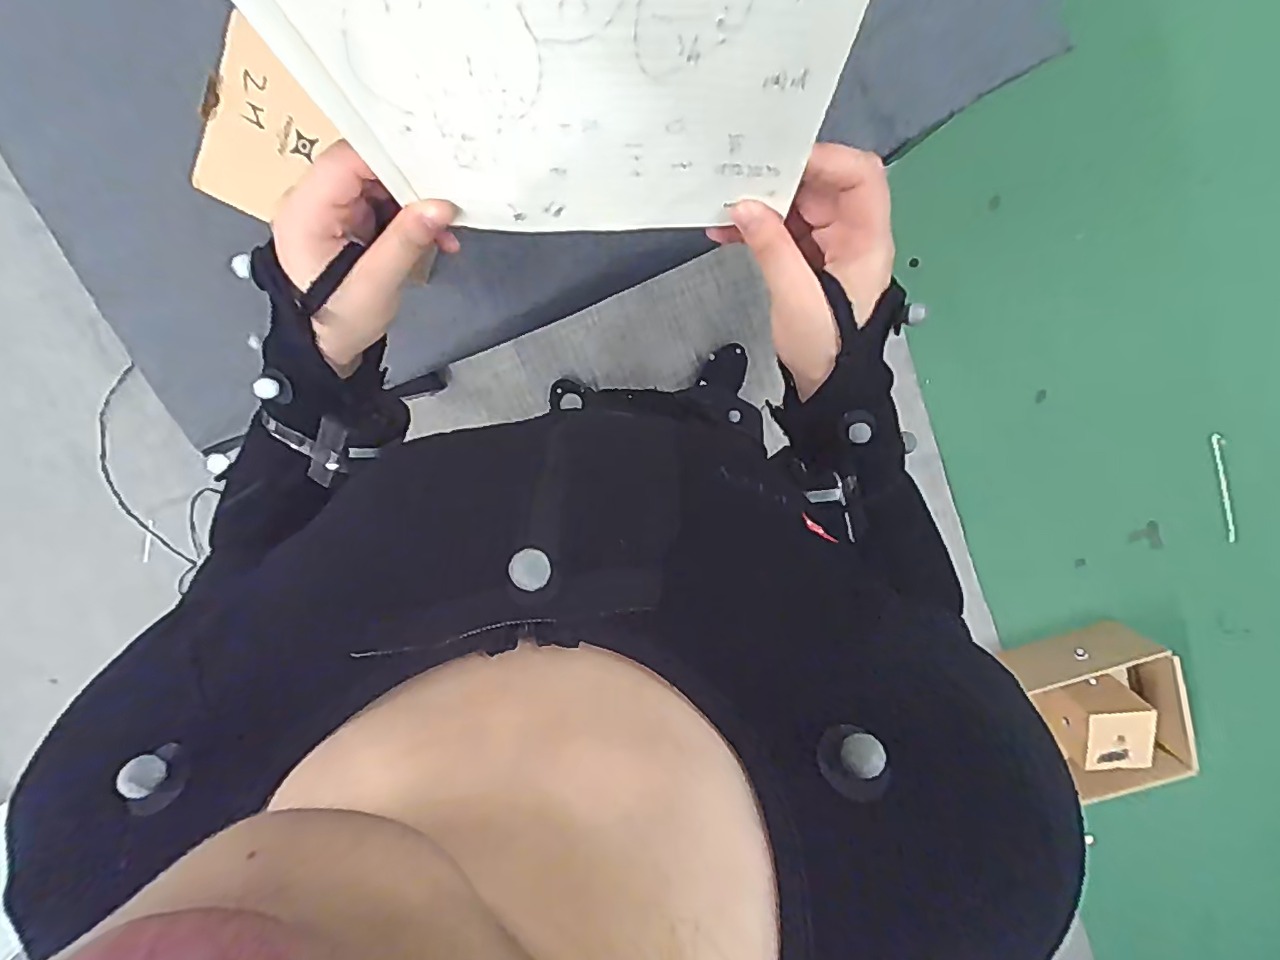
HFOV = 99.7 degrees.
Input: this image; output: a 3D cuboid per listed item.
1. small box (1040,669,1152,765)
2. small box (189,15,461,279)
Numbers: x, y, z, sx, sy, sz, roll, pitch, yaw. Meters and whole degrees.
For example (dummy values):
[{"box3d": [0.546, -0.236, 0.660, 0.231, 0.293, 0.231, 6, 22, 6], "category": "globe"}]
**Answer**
[{"box3d": [1.236, 0.645, 1.480, 0.168, 0.176, 0.179, -6, 105, 5], "category": "small box"}, {"box3d": [-0.324, -0.336, 0.591, 0.179, 0.176, 0.168, 26, 103, -4], "category": "small box"}]
